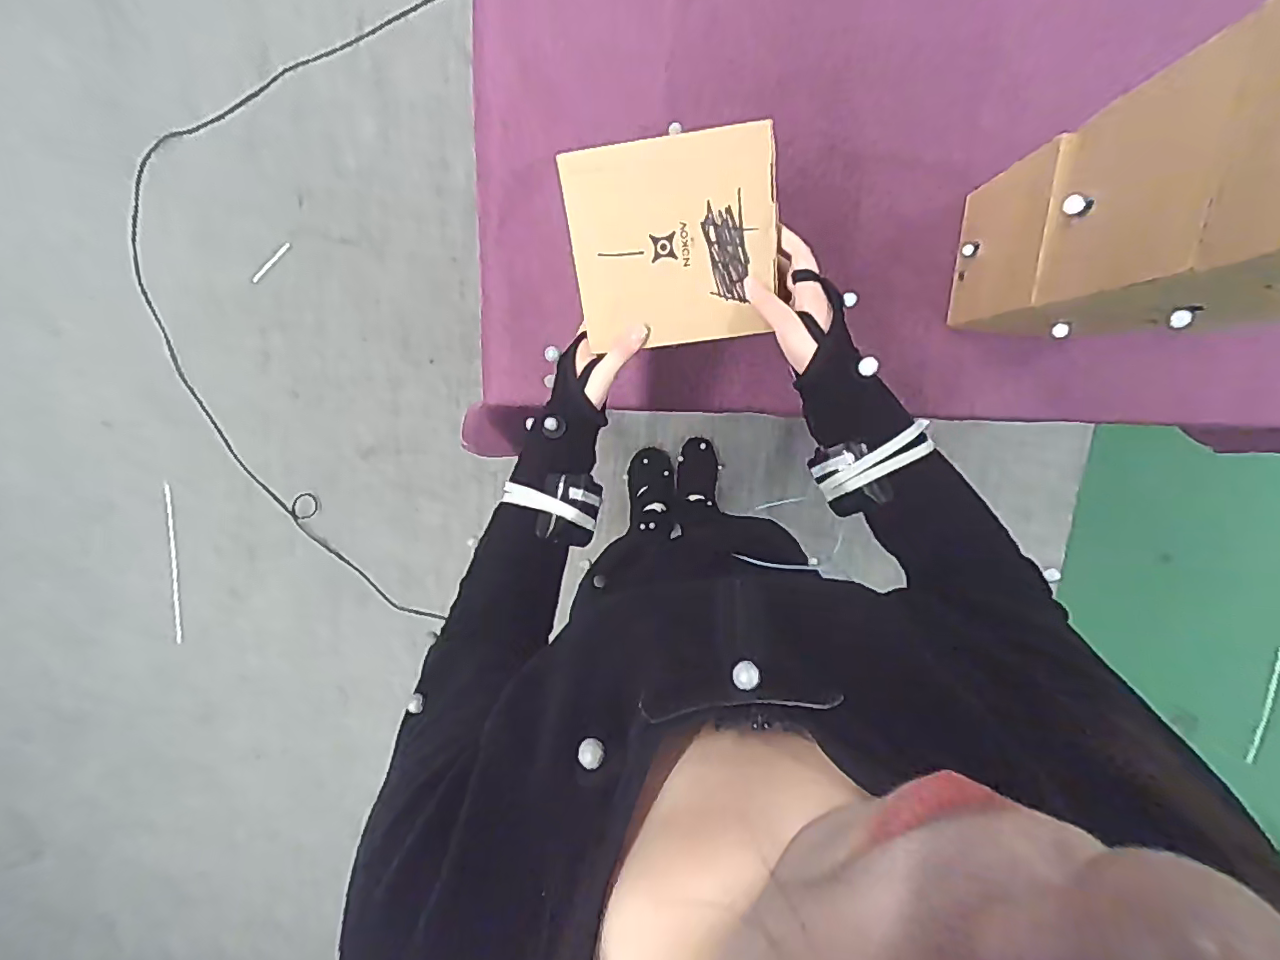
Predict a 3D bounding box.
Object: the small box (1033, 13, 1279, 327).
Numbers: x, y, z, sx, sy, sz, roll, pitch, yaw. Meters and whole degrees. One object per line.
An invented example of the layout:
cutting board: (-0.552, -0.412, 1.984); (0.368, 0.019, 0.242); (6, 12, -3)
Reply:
small box: (0.481, -0.233, 0.457); (0.168, 0.176, 0.179); (8, 99, 0)

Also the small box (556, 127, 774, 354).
small box: (0.029, -0.232, 0.535); (0.179, 0.176, 0.168); (-6, 114, 5)
